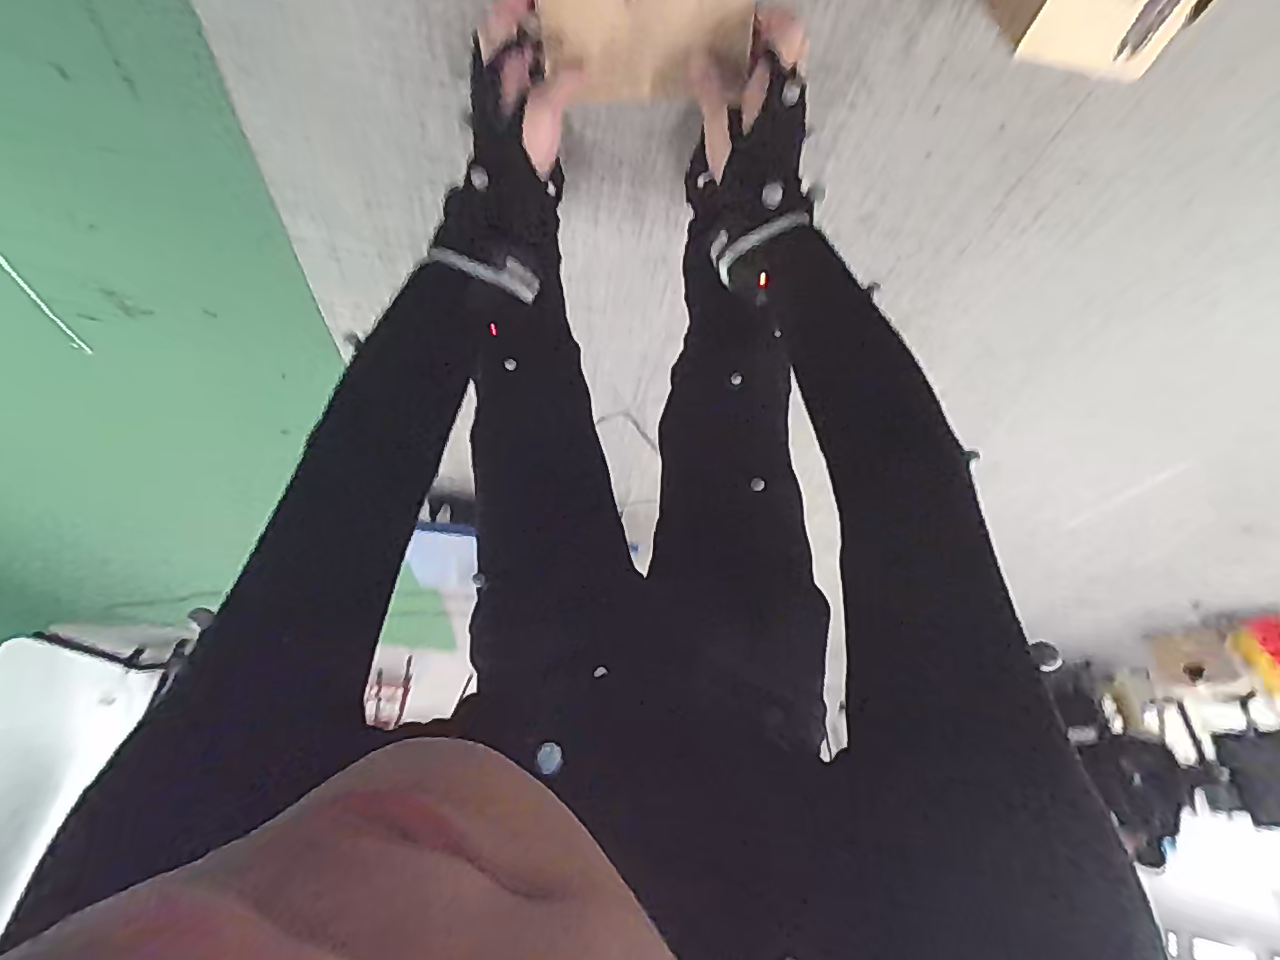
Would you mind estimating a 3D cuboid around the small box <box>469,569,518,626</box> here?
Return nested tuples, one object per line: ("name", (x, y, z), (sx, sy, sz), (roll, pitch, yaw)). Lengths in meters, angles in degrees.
("small box", (-0.592, 0.477, 2.187), (0.168, 0.176, 0.179), (9, 148, -13))

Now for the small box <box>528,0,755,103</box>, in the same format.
("small box", (-0.001, -0.436, 0.451), (0.179, 0.176, 0.168), (-3, 141, -1))
